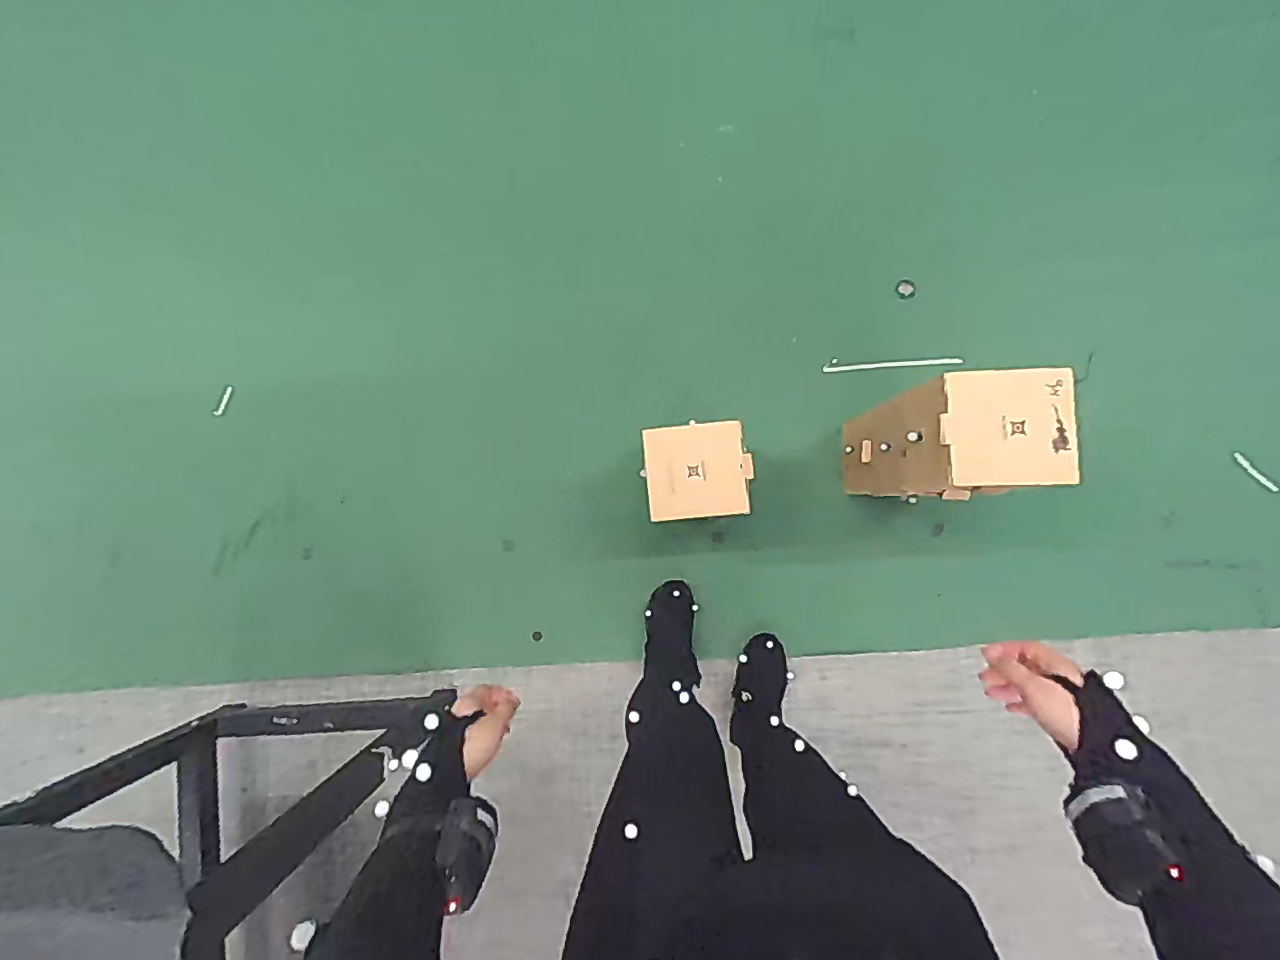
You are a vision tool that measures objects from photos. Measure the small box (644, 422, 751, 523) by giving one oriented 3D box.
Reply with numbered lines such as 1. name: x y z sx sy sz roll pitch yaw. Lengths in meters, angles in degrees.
1. small box: 0.103 -0.011 1.018 0.179 0.176 0.168 -6 87 3

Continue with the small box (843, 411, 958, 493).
1. small box: 0.553 -0.056 1.160 0.179 0.176 0.168 0 88 4

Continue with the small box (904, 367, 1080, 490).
1. small box: 0.523 -0.070 0.833 0.179 0.176 0.168 -1 87 4
